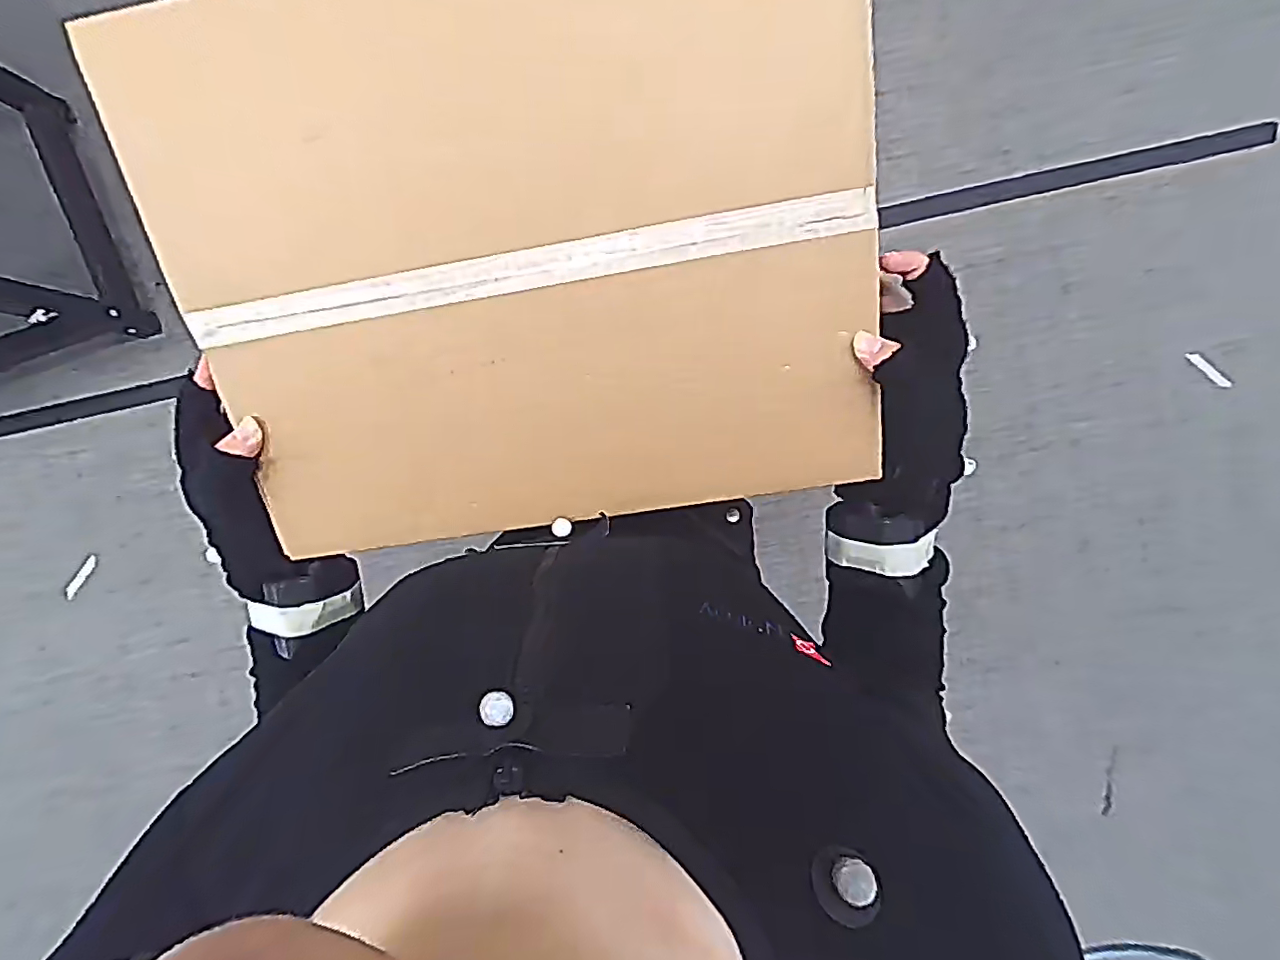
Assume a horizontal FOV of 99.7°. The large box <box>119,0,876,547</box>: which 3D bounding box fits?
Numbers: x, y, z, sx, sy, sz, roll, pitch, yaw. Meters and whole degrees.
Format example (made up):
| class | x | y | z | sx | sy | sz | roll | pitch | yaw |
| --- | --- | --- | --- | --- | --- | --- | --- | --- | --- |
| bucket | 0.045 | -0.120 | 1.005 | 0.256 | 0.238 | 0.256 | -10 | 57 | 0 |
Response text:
| class | x | y | z | sx | sy | sz | roll | pitch | yaw |
| --- | --- | --- | --- | --- | --- | --- | --- | --- | --- |
| large box | -0.063 | -0.171 | 0.463 | 0.408 | 0.320 | 0.320 | -8 | 109 | 4 |
